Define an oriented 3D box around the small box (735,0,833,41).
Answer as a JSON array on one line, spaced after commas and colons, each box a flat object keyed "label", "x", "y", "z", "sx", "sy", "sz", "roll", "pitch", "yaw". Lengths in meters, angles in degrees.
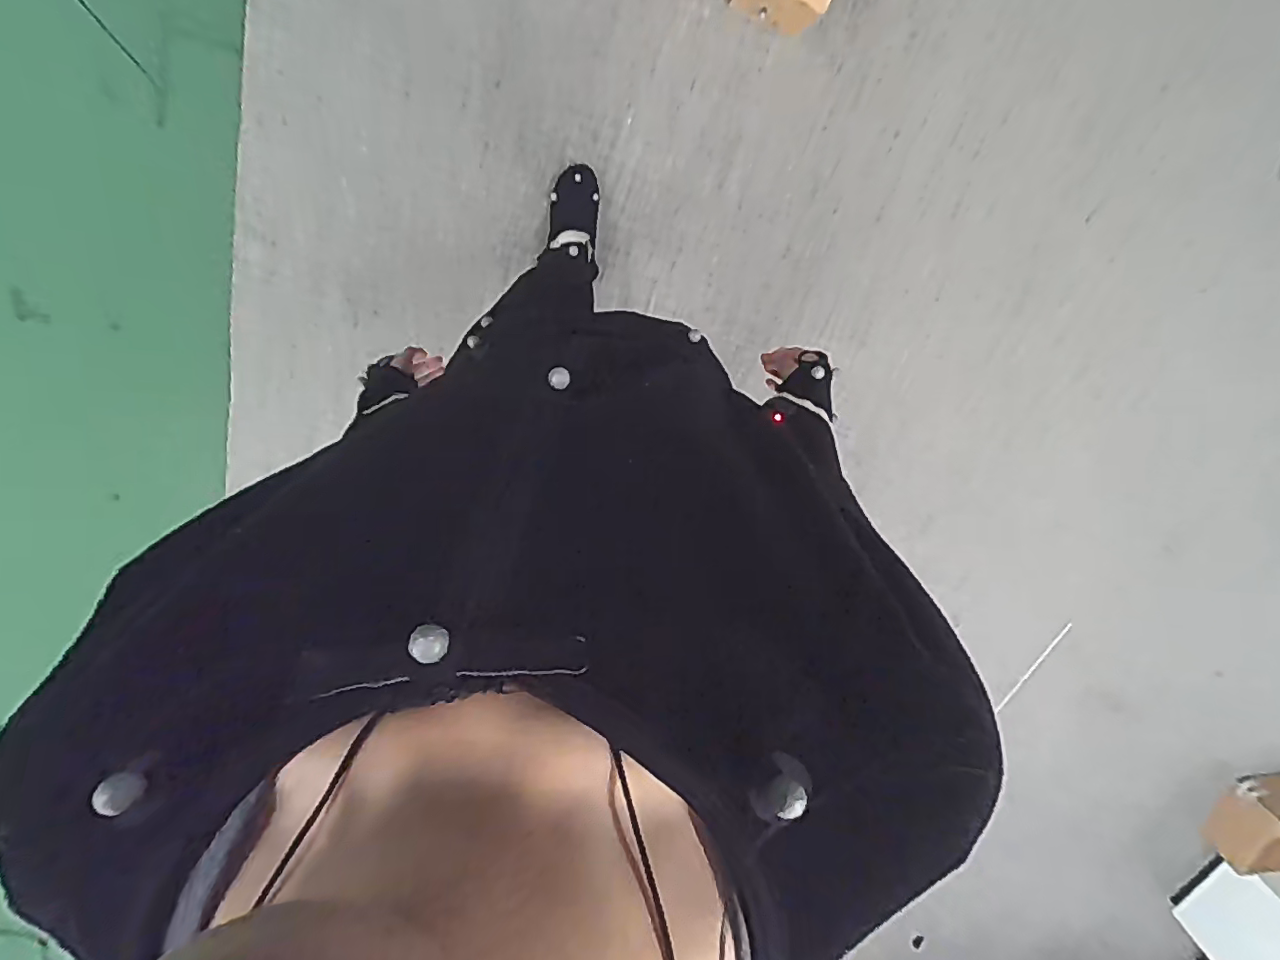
[{"label": "small box", "x": 0.297, "y": -0.992, "z": 1.031, "sx": 0.168, "sy": 0.176, "sz": 0.179, "roll": 18, "pitch": 115, "yaw": -11}]
